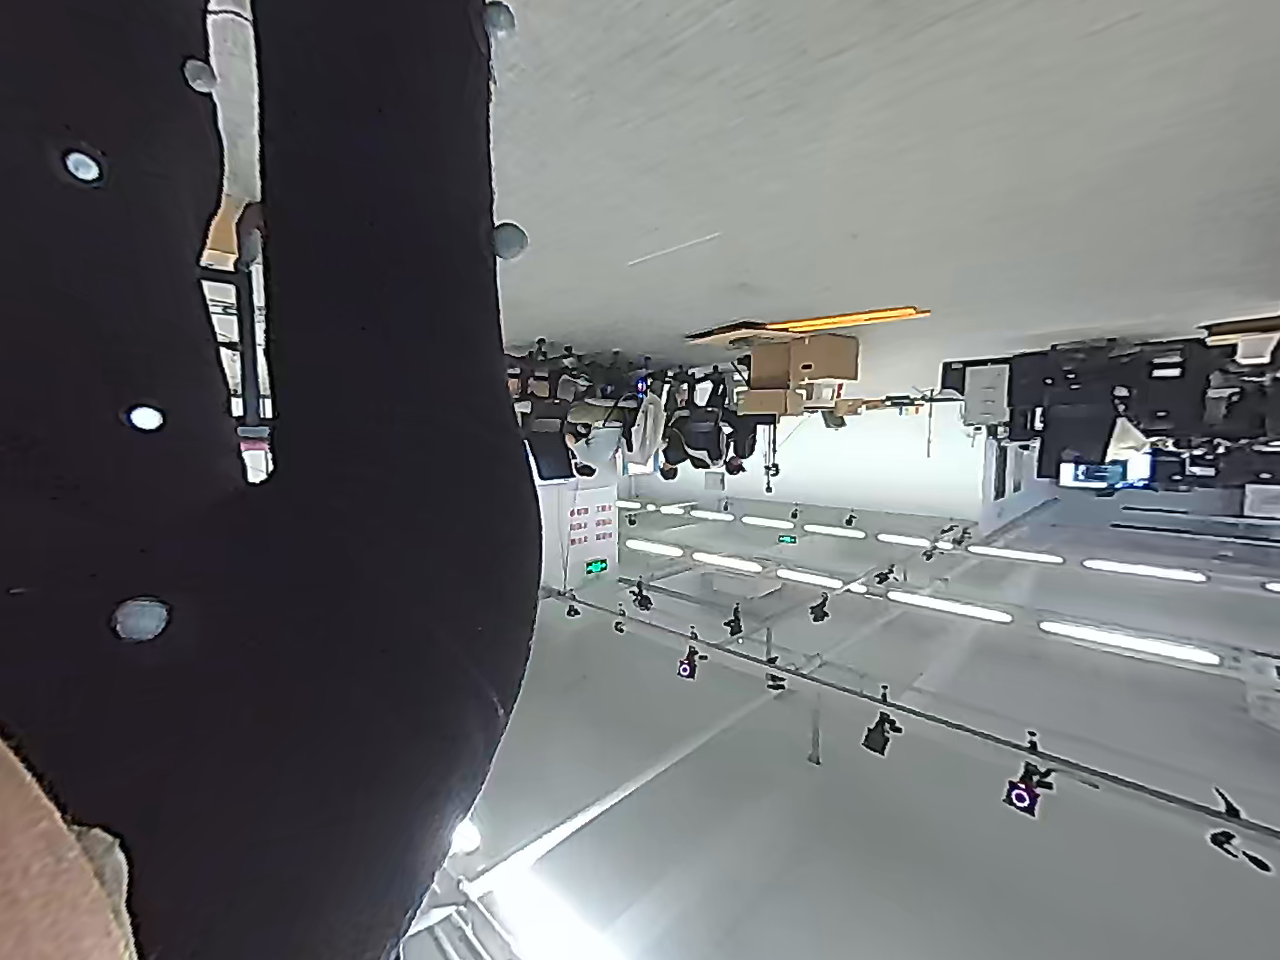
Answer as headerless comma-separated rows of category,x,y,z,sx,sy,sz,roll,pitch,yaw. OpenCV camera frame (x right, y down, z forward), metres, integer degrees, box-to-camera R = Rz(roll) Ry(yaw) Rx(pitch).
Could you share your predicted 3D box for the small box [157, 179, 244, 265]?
small box,-1.271,-0.741,1.564,0.179,0.176,0.168,-5,-173,-44
